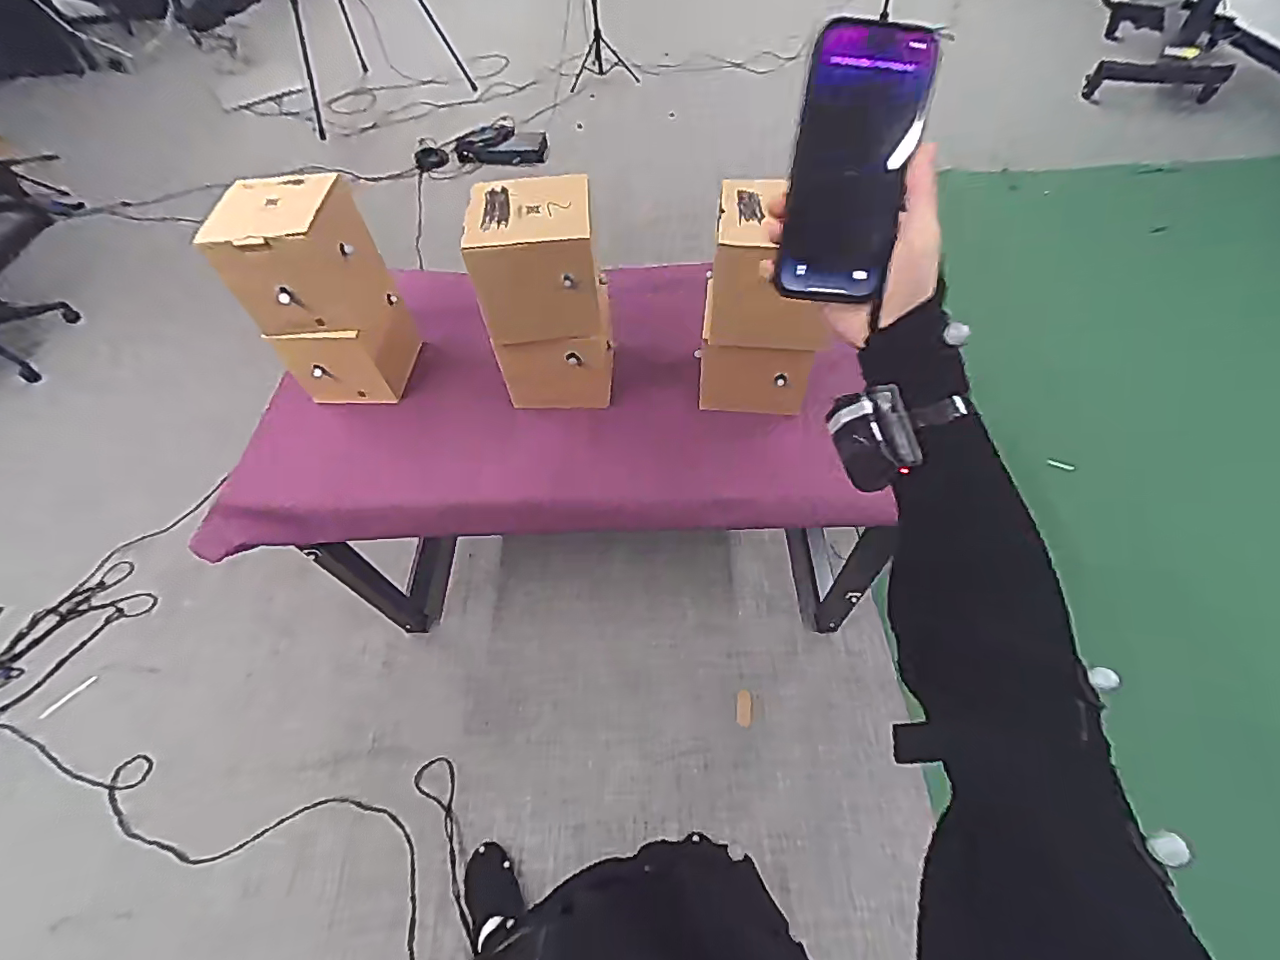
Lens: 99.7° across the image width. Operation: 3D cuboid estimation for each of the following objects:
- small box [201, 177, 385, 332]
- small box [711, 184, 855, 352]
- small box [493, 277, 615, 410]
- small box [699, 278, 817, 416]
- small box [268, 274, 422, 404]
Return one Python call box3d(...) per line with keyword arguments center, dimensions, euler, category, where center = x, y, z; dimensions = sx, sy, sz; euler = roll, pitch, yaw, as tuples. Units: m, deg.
box3d(center=(-0.539, -0.354, 0.871), dimensions=(0.168, 0.176, 0.179), euler=(-3, 56, 1), category="small box")
box3d(center=(0.198, -0.306, 0.790), dimensions=(0.179, 0.176, 0.168), euler=(5, 56, 7), category="small box")
box3d(center=(-0.140, -0.239, 0.964), dimensions=(0.179, 0.176, 0.168), euler=(0, 56, 4), category="small box")
box3d(center=(0.199, -0.226, 0.934), dimensions=(0.179, 0.176, 0.168), euler=(5, 56, 8), category="small box")
box3d(center=(-0.529, -0.255, 1.002), dimensions=(0.168, 0.176, 0.179), euler=(0, 56, 4), category="small box")
